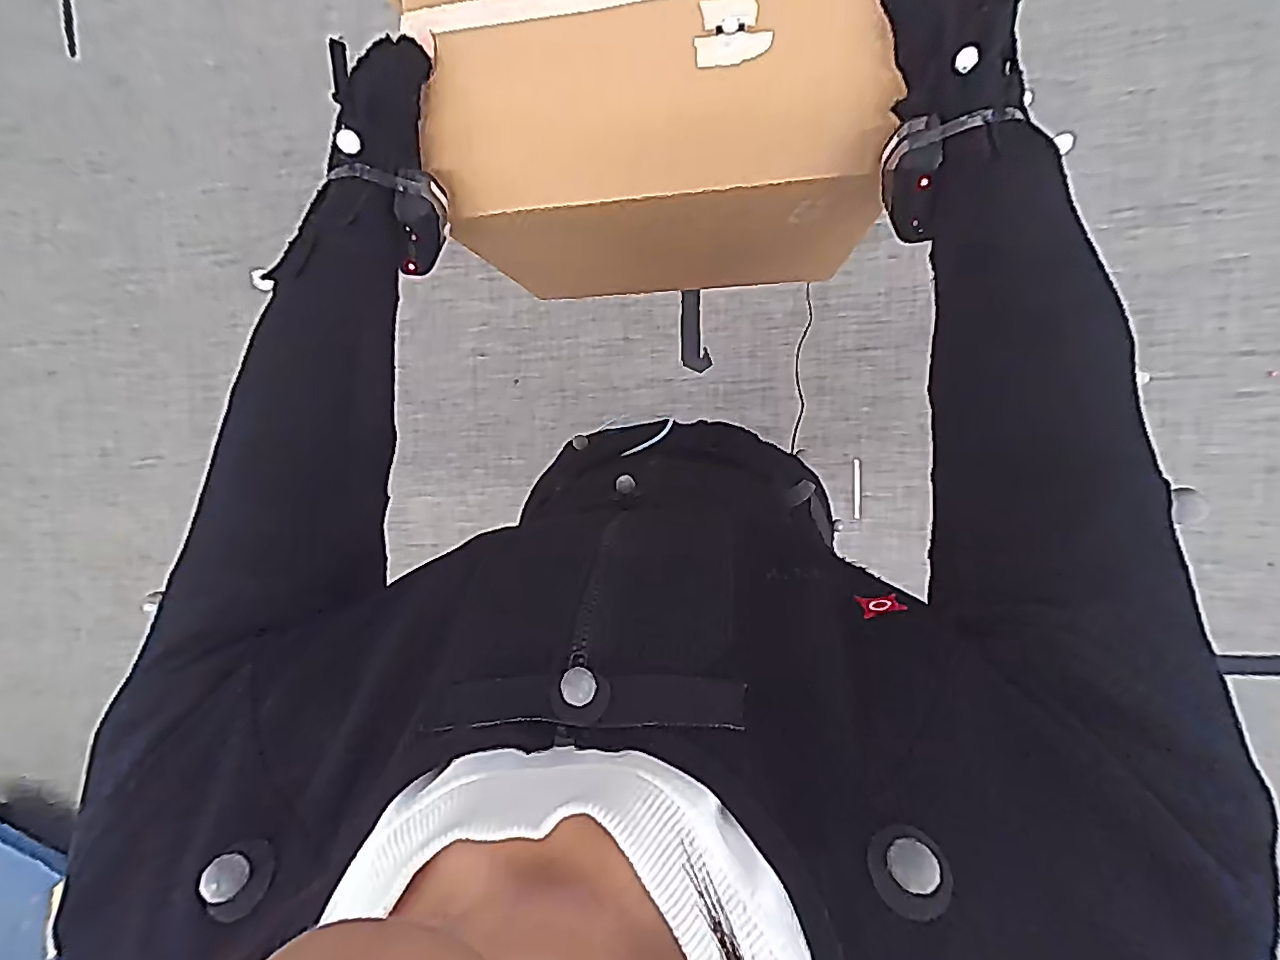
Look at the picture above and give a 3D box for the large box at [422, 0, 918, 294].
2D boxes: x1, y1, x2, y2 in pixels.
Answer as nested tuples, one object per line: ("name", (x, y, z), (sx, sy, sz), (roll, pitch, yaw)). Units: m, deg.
("large box", (0.029, -0.409, 0.581), (0.408, 0.320, 0.320), (-2, 96, 8))
